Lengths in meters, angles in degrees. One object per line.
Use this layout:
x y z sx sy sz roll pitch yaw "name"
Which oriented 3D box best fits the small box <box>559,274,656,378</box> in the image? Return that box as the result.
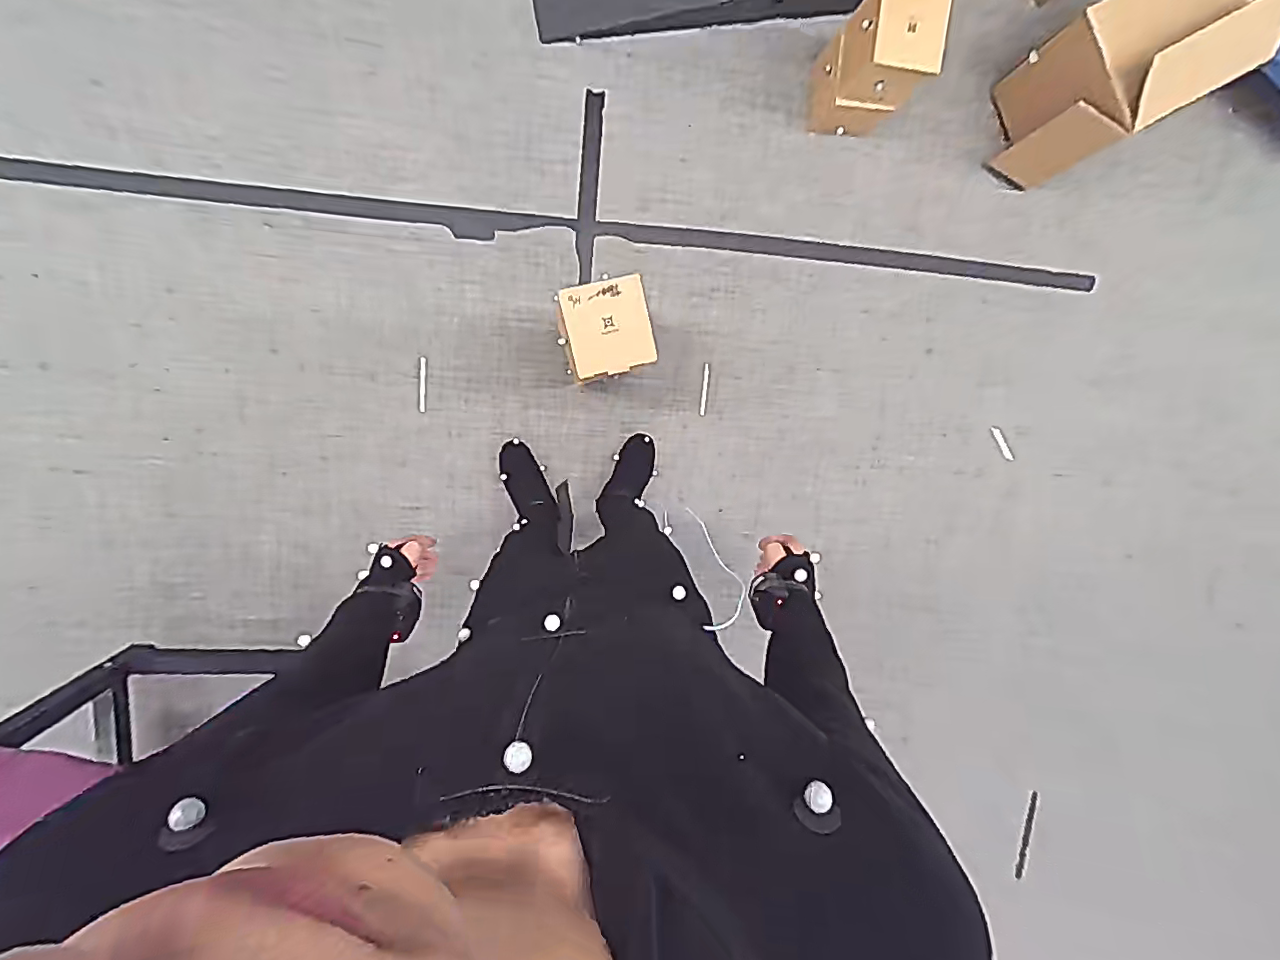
-0.071 -0.320 1.144 0.168 0.176 0.179 -14 102 -6 "small box"
